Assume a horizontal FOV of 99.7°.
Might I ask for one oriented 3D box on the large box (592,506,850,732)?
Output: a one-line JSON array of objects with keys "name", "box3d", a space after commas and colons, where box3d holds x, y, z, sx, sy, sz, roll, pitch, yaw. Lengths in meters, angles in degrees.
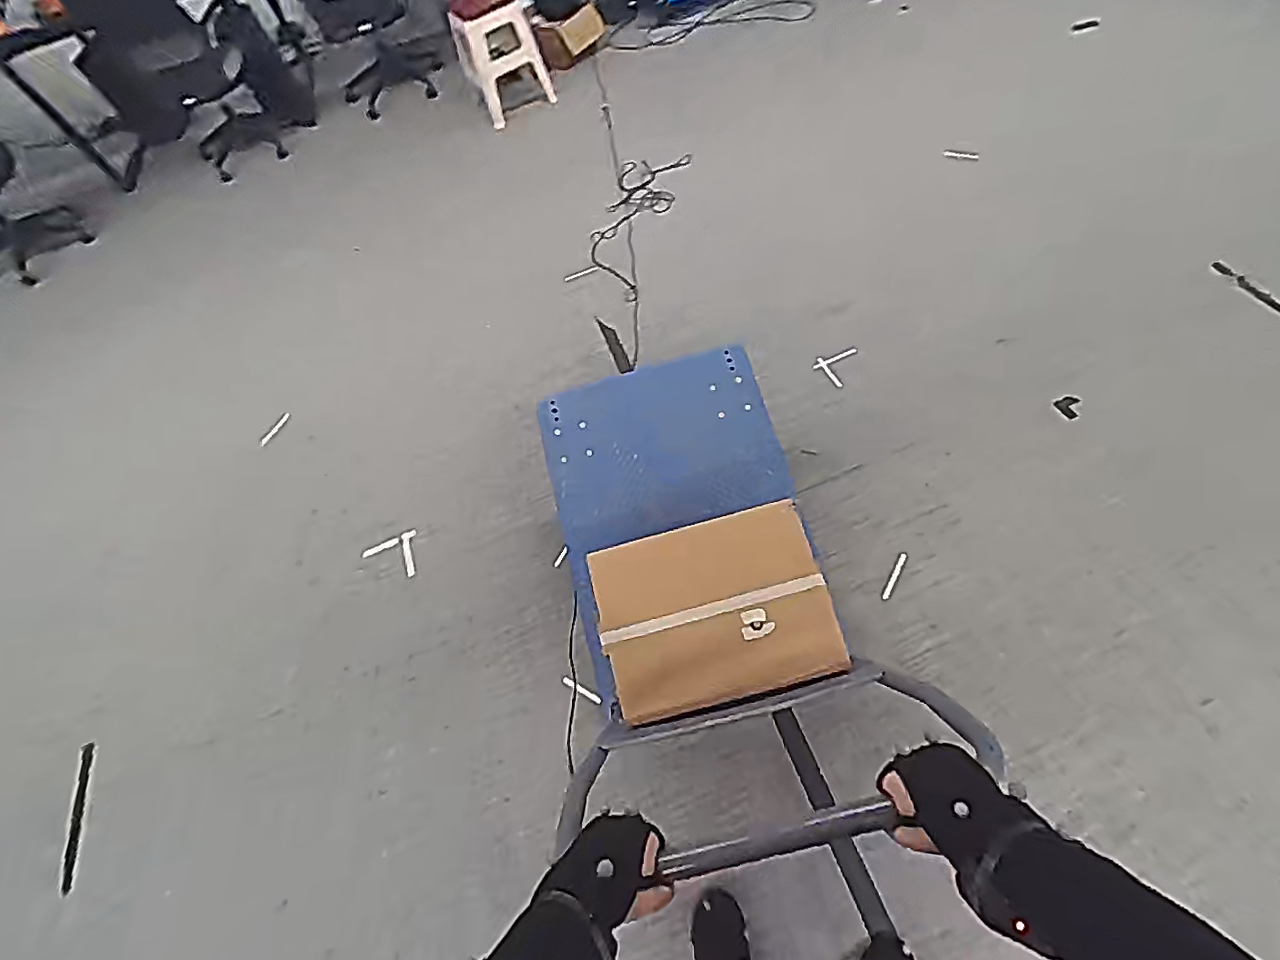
[{"name": "large box", "box3d": [0.150, 0.287, 1.123, 0.408, 0.320, 0.320, -16, 74, 1]}]
